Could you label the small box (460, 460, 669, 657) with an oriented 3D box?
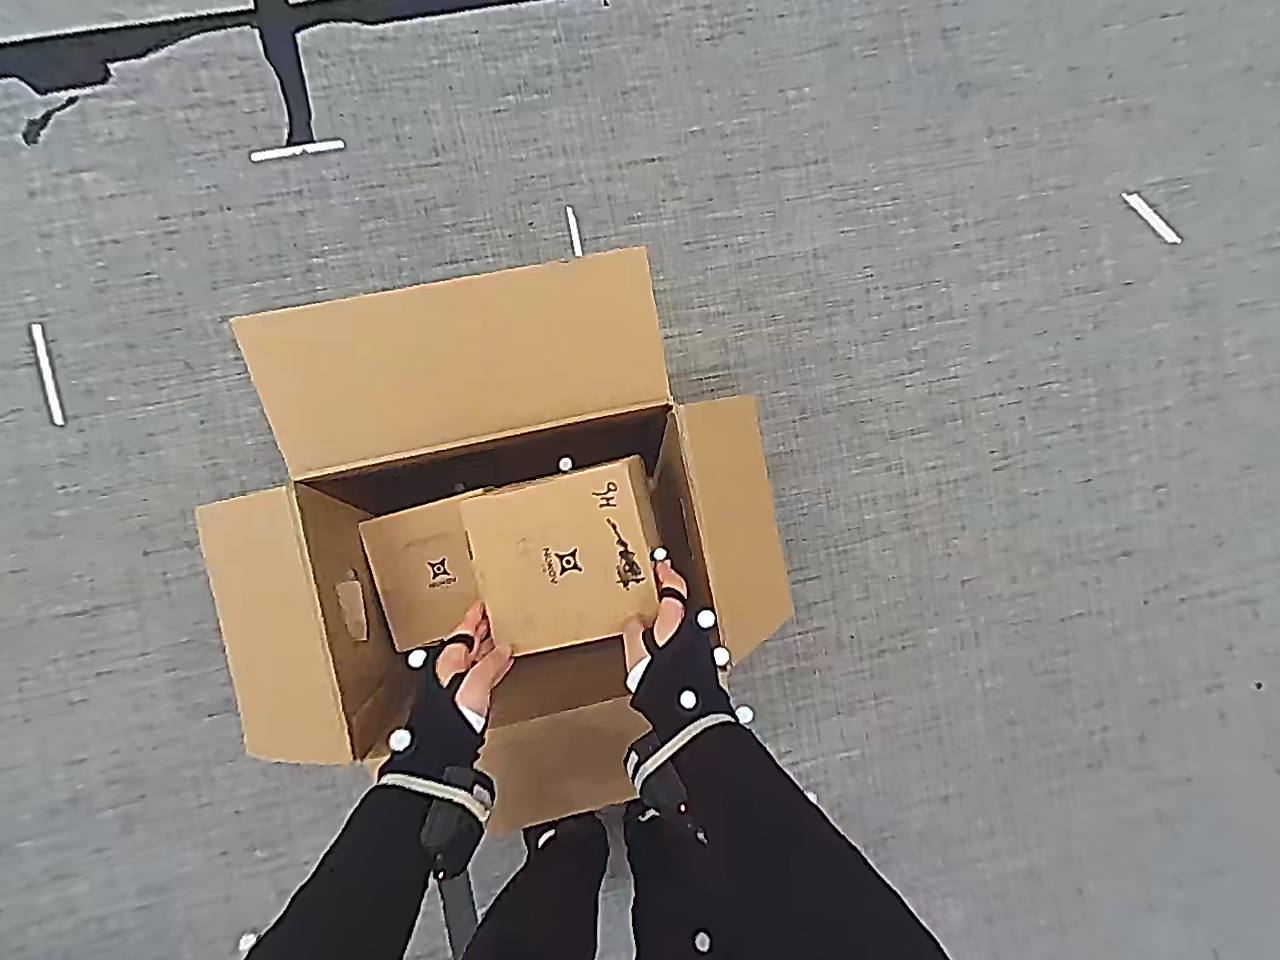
[{"bbox_3d":[-0.071,0.077,0.614,0.179,0.176,0.168,-13,95,7],"label":"small box"}]
